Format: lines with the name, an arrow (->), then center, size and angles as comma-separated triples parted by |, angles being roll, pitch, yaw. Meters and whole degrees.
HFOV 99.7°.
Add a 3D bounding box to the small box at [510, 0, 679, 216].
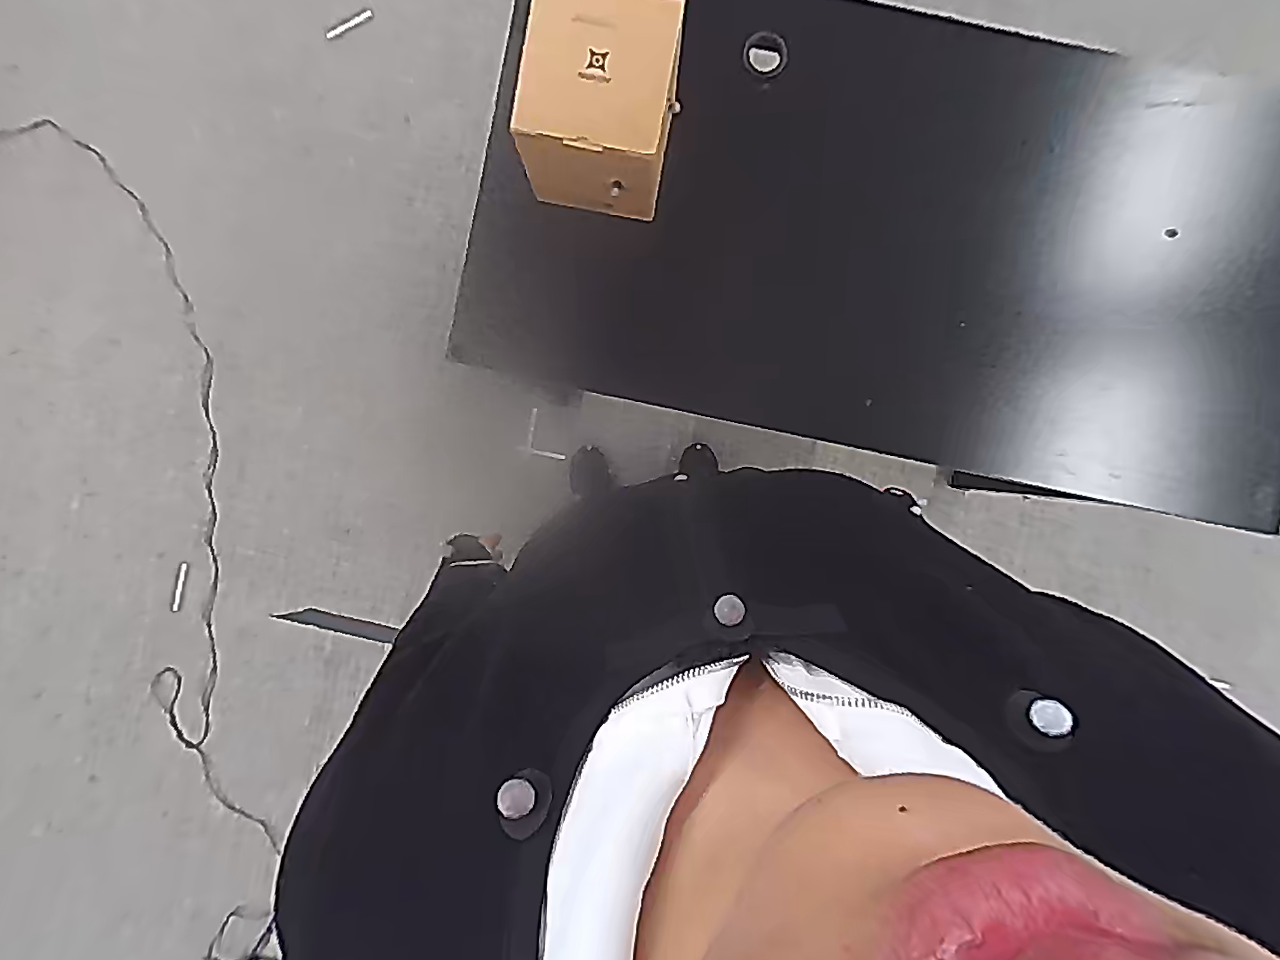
small box -> -0.052, -0.460, 0.677 | 0.168, 0.176, 0.179 | 10, 92, -2
